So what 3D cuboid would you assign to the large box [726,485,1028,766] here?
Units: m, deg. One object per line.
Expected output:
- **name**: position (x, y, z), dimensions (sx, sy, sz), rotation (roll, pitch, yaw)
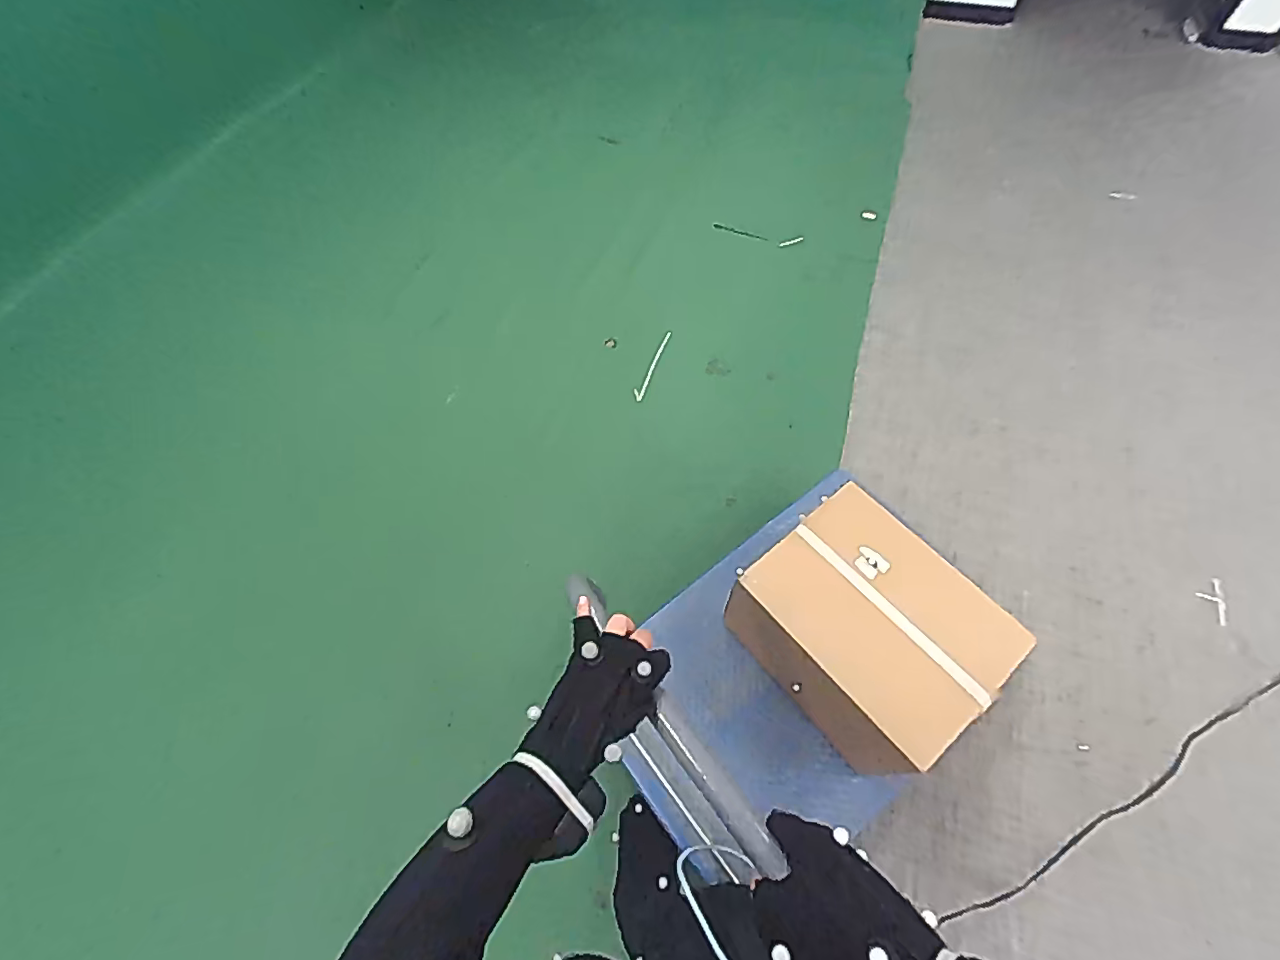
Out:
- **large box**: position (0.426, 0.295, 1.080), dimensions (0.320, 0.320, 0.408), rotation (-36, 65, -16)
